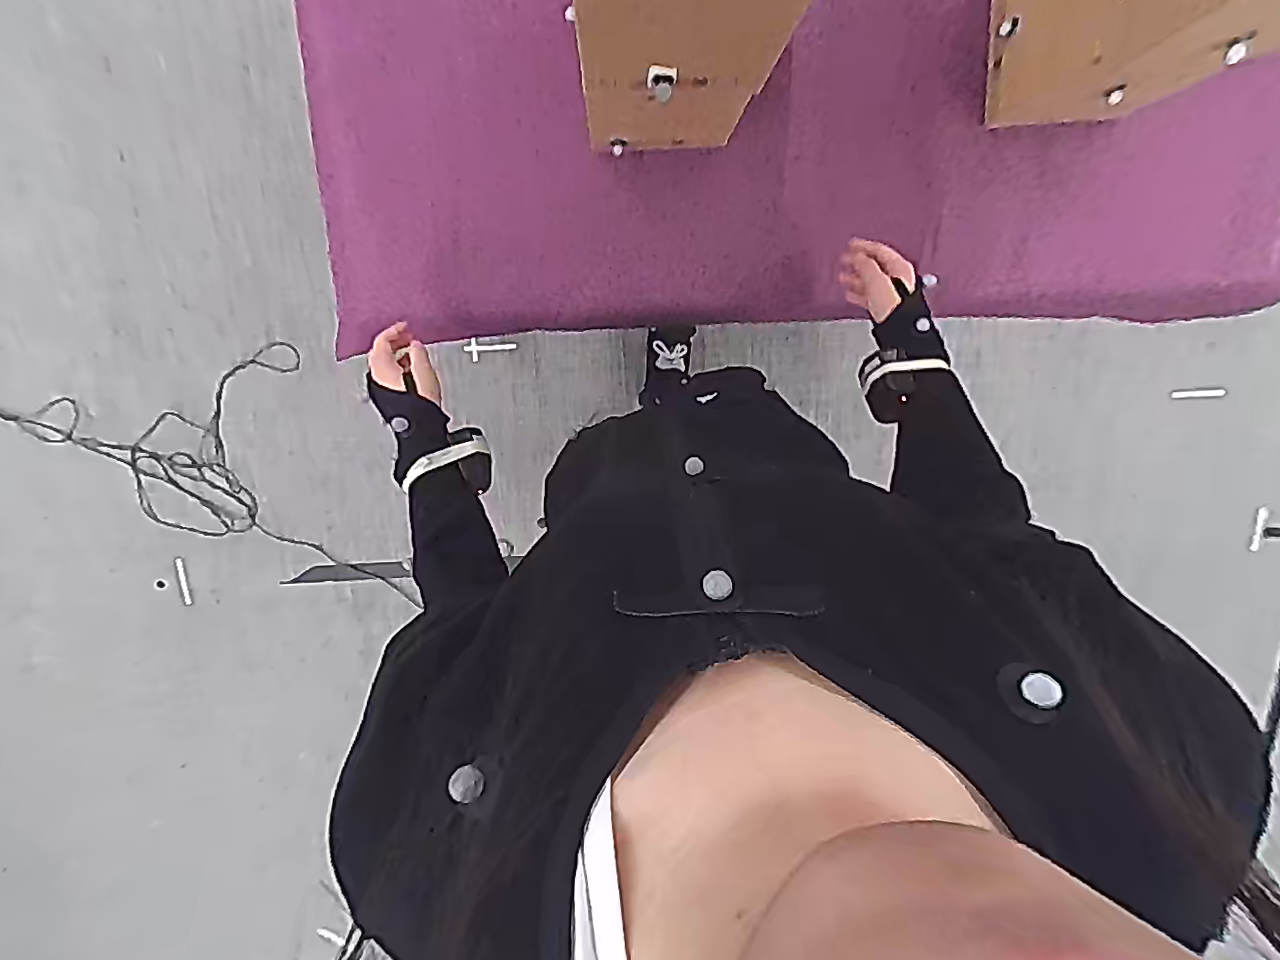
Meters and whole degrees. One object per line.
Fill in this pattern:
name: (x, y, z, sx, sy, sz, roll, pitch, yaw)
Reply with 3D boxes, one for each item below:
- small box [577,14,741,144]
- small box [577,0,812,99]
small box: (0.021, -0.469, 0.559, 0.168, 0.176, 0.179, -3, 102, -2)
small box: (0.032, -0.422, 0.403, 0.168, 0.176, 0.179, -3, 104, -1)
